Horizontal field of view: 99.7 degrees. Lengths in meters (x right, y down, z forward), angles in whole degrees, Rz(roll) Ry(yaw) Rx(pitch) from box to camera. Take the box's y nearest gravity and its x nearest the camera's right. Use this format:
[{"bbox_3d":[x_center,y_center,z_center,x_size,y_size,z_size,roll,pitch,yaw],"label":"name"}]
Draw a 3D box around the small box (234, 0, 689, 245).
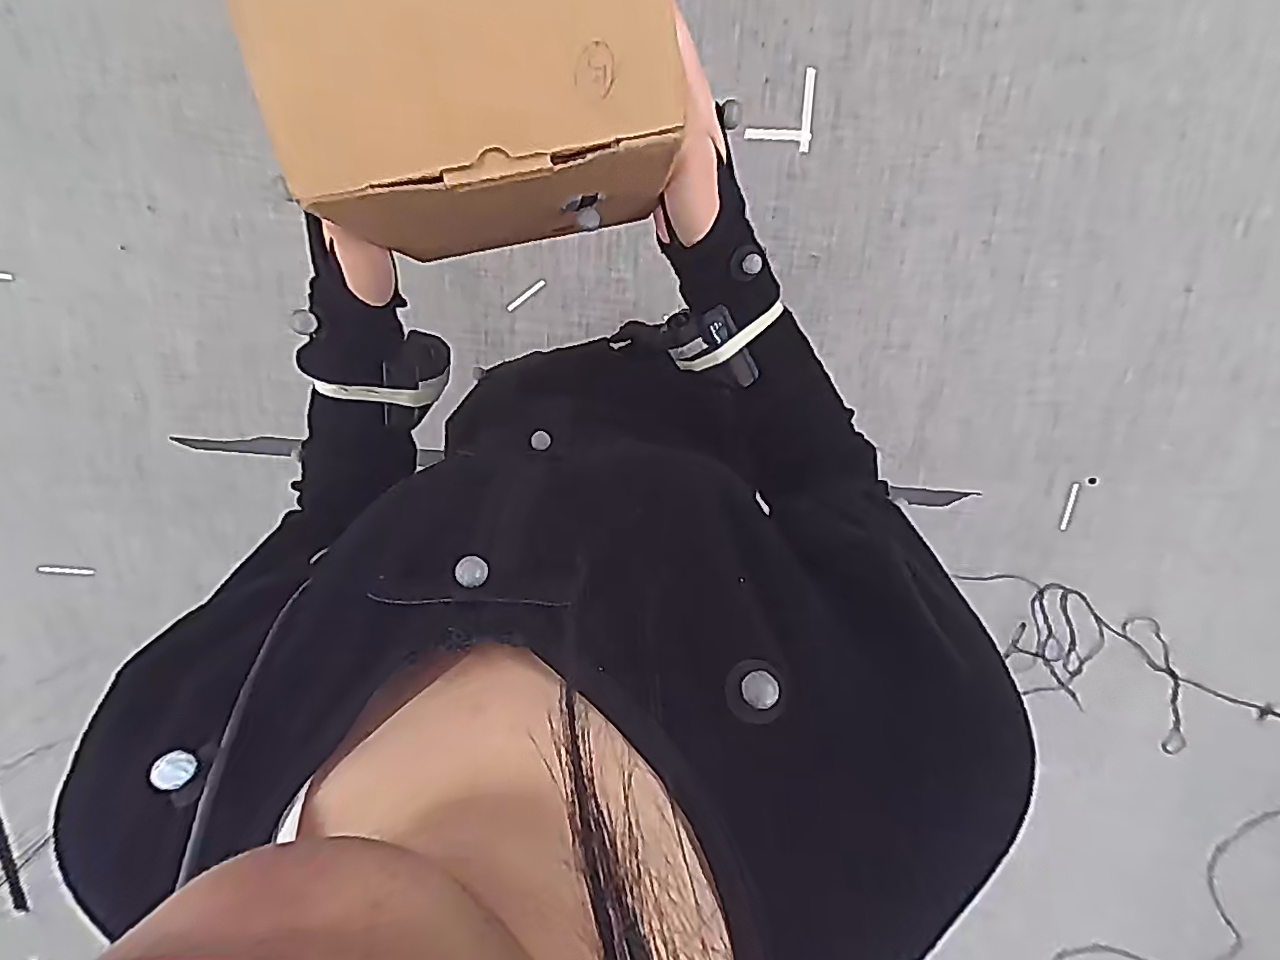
[{"bbox_3d":[-0.081,-0.230,0.274,0.168,0.176,0.179,-13,105,-3],"label":"small box"}]
